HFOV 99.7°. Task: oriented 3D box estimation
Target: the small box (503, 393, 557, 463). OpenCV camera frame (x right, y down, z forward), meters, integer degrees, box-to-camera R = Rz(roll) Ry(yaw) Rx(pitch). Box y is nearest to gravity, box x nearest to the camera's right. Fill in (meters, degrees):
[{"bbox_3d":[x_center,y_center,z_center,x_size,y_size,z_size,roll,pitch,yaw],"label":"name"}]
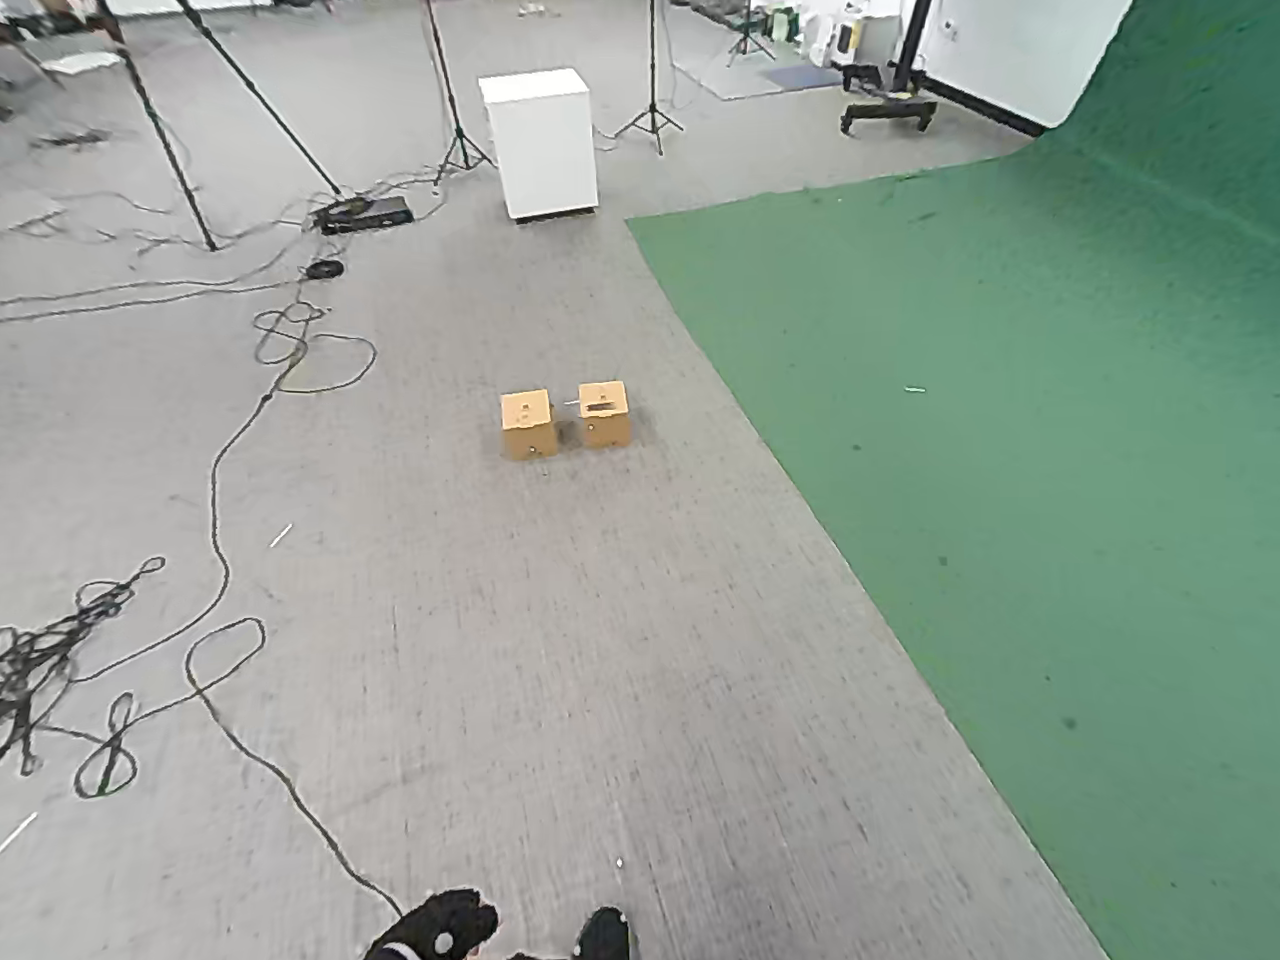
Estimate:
[{"bbox_3d":[-0.396,-0.187,1.949,0.168,0.176,0.179,-9,52,-5],"label":"small box"}]
